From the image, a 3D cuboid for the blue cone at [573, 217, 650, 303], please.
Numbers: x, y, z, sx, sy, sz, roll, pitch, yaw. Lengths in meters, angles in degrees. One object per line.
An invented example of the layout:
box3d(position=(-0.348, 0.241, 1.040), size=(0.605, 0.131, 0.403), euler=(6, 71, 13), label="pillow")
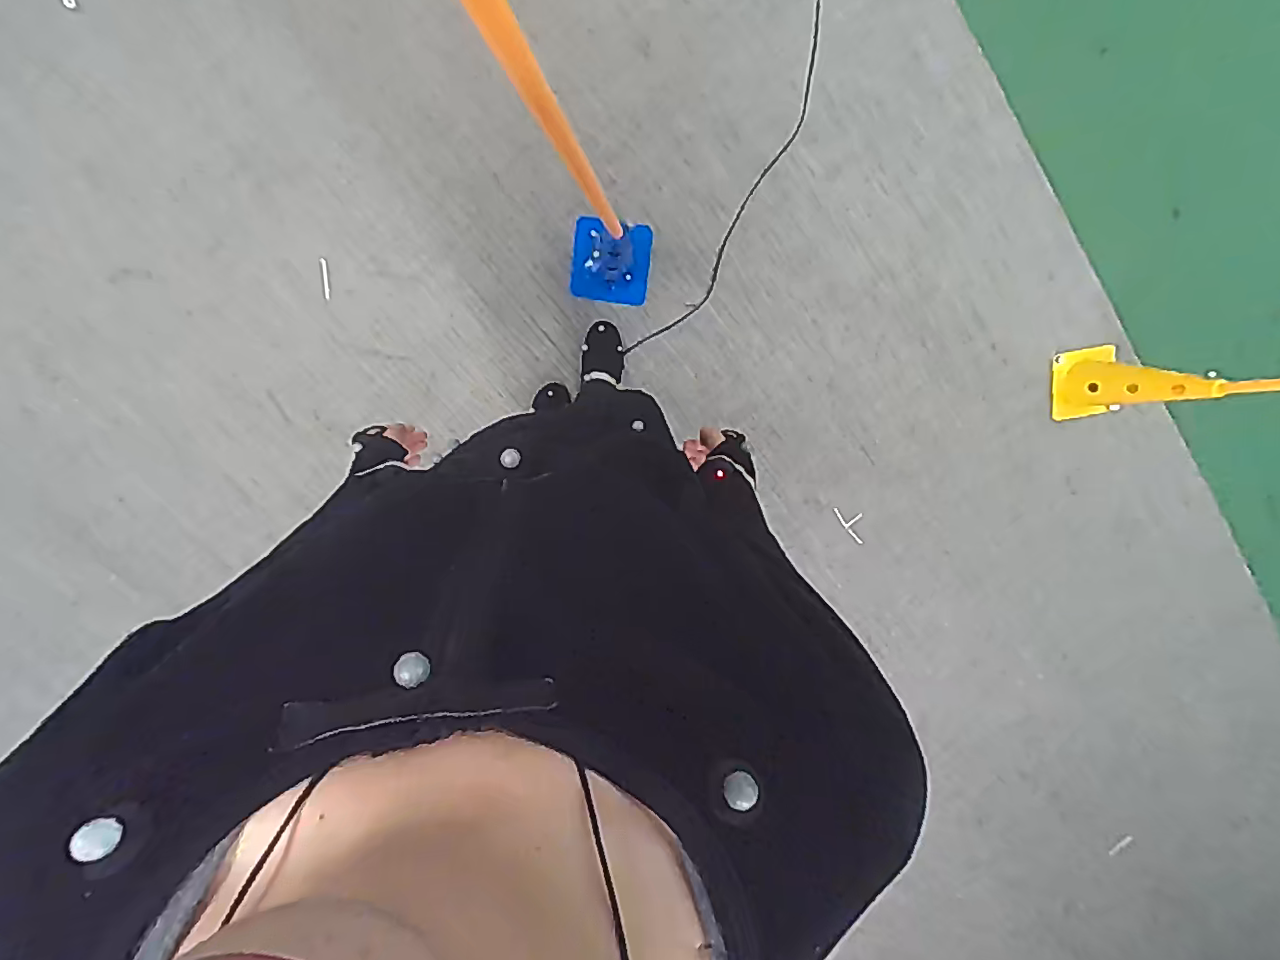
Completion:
box3d(position=(-0.062, -0.517, 1.216), size=(0.193, 0.380, 0.192), euler=(5, 102, -5), label="blue cone")
